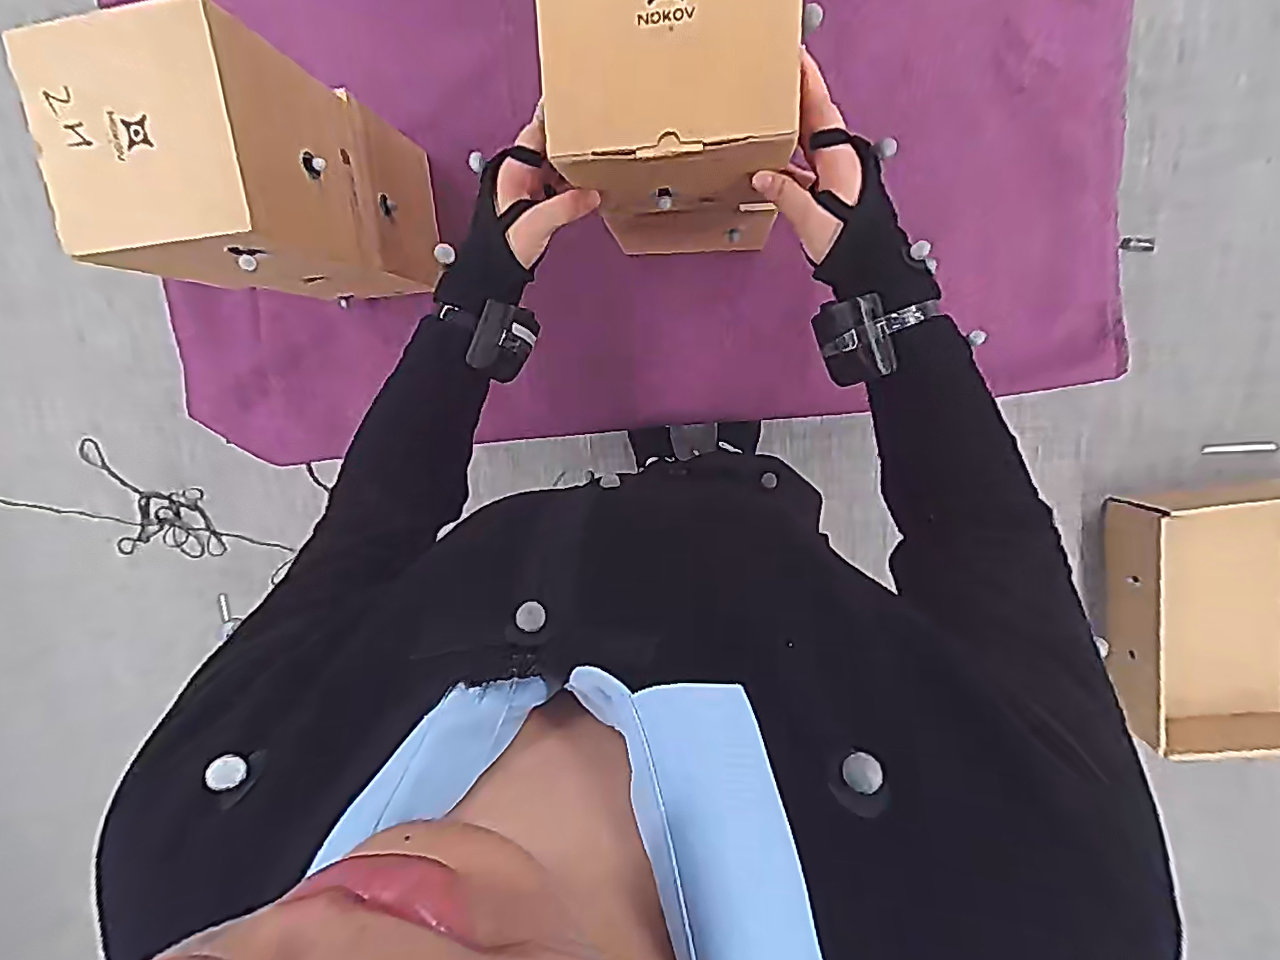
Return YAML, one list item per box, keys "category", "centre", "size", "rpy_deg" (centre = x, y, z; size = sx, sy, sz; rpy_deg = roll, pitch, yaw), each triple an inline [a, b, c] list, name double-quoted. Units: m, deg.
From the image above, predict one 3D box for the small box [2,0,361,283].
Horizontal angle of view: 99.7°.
- category: "small box"
  centre: [-0.383, -0.284, 0.493]
  size: [0.179, 0.176, 0.168]
  rpy_deg: [-4, 101, 7]

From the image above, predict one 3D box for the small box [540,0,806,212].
- category: "small box"
  centre: [0.028, -0.320, 0.406]
  size: [0.168, 0.176, 0.179]
  rpy_deg: [-1, 105, 9]

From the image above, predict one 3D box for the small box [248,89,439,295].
- category: "small box"
  centre: [-0.362, -0.325, 0.652]
  size: [0.168, 0.176, 0.179]
  rpy_deg: [-3, 100, 7]
